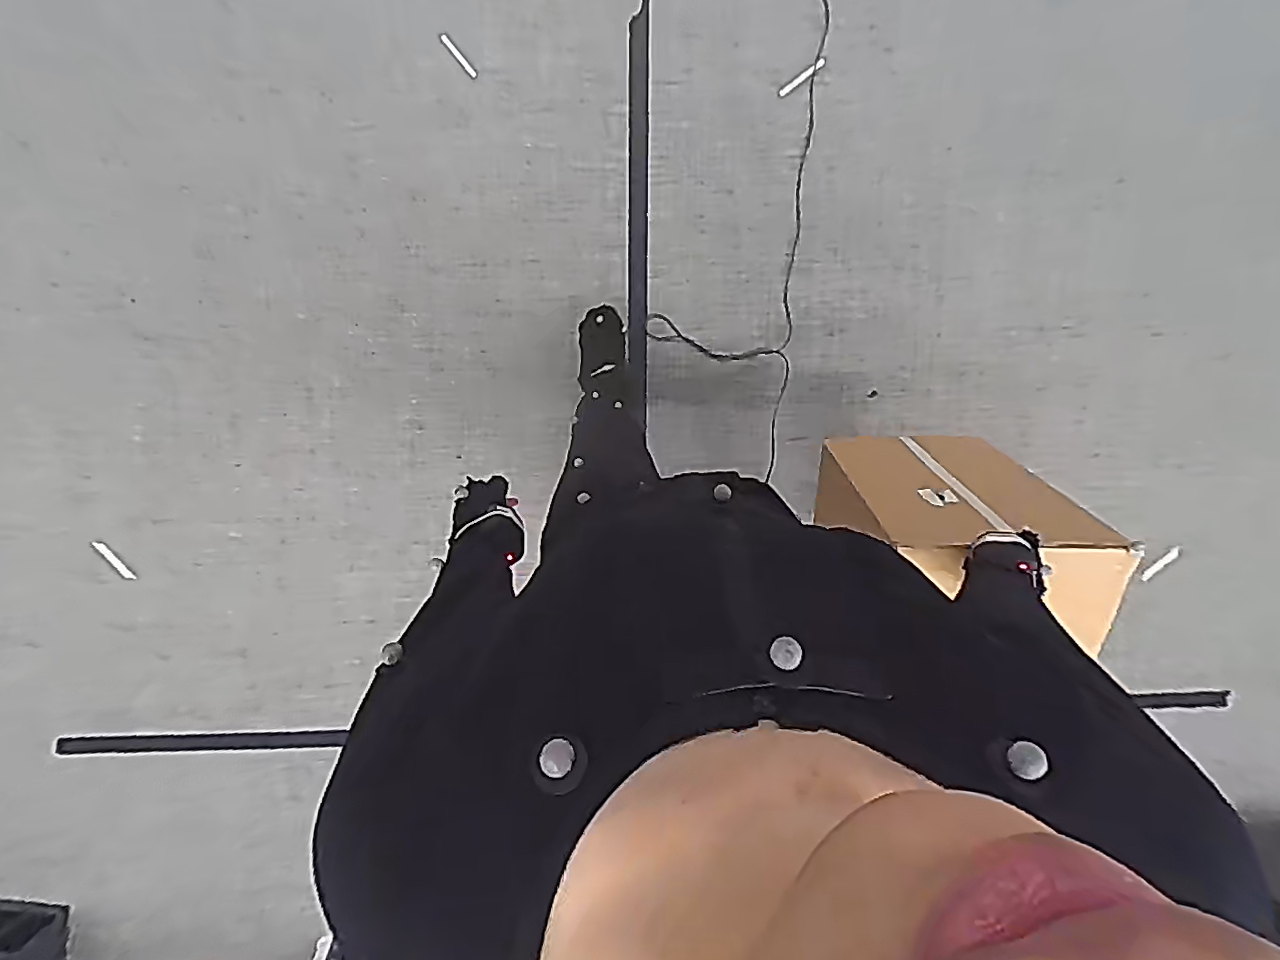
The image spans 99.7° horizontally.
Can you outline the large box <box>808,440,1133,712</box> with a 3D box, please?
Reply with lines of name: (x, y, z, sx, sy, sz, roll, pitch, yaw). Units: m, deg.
large box: (0.517, 0.146, 0.969, 0.320, 0.408, 0.320, -1, 116, 3)
